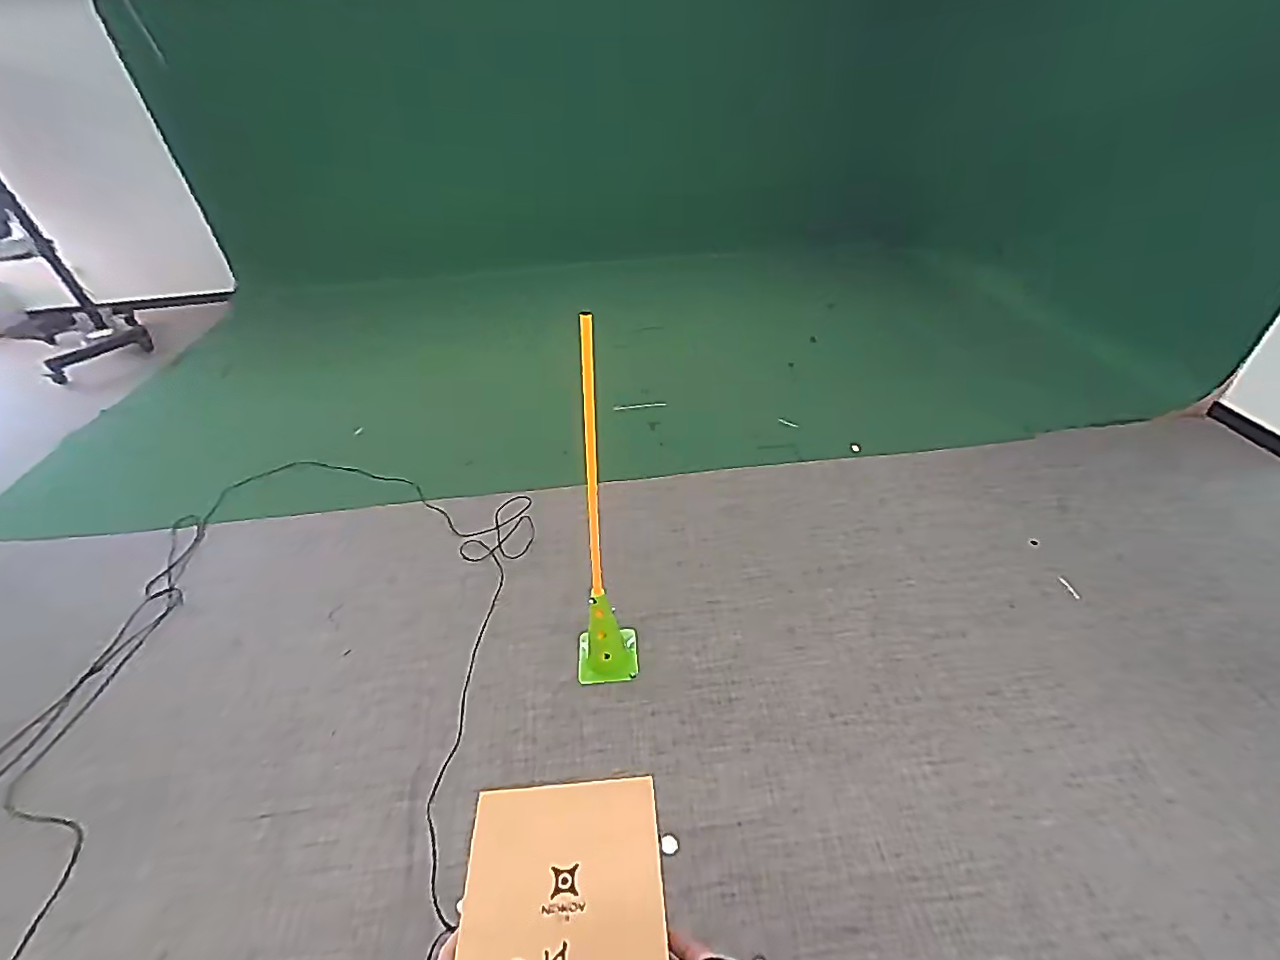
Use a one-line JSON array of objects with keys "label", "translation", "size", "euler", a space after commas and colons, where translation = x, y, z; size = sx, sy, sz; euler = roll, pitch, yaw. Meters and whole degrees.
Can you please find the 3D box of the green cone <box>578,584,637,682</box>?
[{"label": "green cone", "translation": [-0.127, 0.469, 1.769], "size": [0.202, 0.368, 0.200], "euler": [-5, 39, 0]}]
